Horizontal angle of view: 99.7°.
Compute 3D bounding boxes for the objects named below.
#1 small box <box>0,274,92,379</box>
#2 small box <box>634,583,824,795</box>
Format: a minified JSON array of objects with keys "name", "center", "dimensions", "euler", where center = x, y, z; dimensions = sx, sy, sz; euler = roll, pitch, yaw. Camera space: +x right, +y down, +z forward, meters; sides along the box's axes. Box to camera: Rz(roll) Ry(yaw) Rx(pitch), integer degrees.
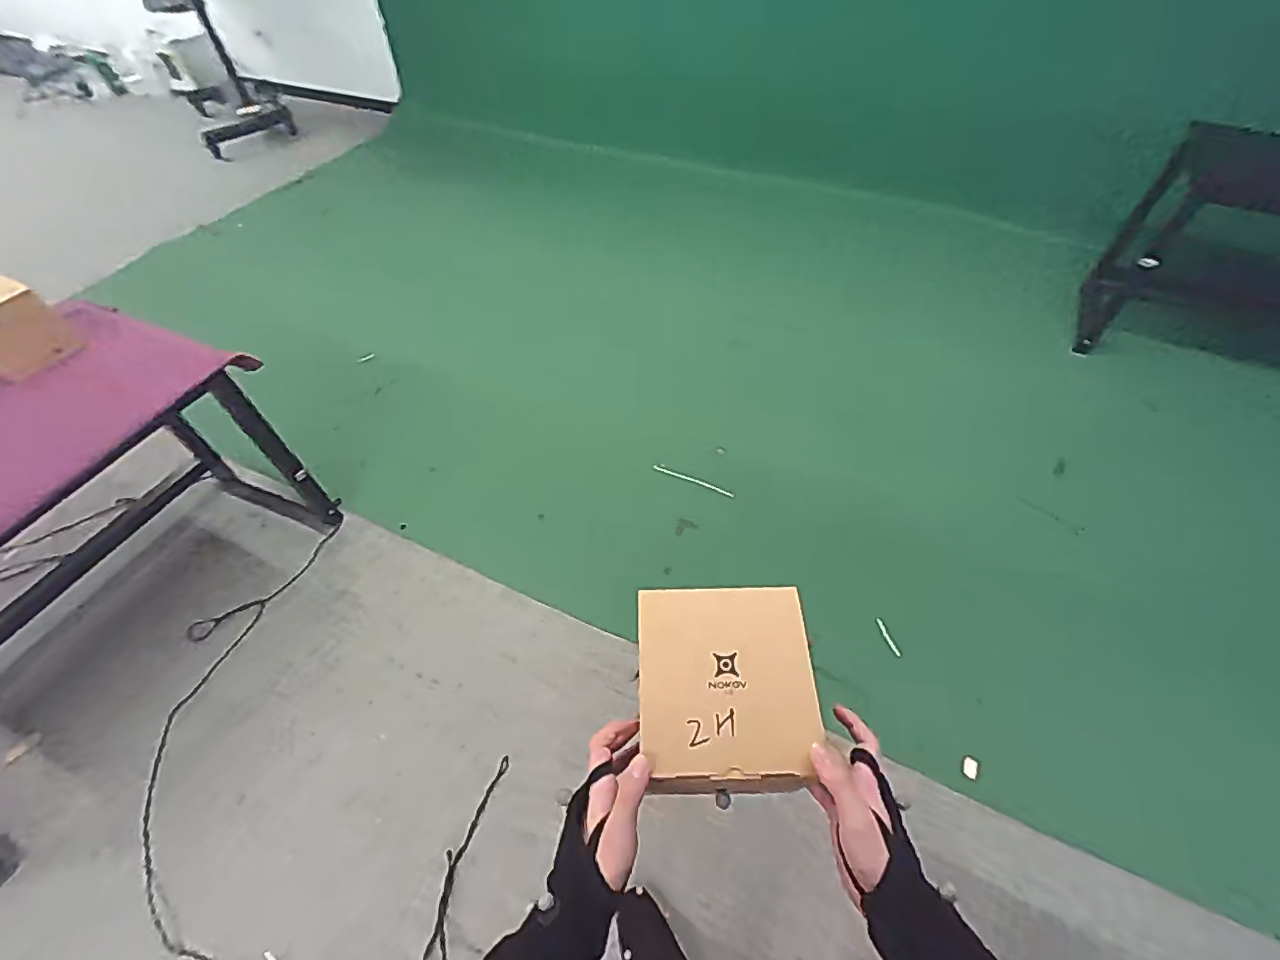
[{"name":"small box","center":[-1.527,-0.371,1.320],"dimensions":[0.179,0.176,0.168],"euler":[22,56,17]},{"name":"small box","center":[0.078,0.224,0.573],"dimensions":[0.168,0.176,0.179],"euler":[-2,55,1]}]
